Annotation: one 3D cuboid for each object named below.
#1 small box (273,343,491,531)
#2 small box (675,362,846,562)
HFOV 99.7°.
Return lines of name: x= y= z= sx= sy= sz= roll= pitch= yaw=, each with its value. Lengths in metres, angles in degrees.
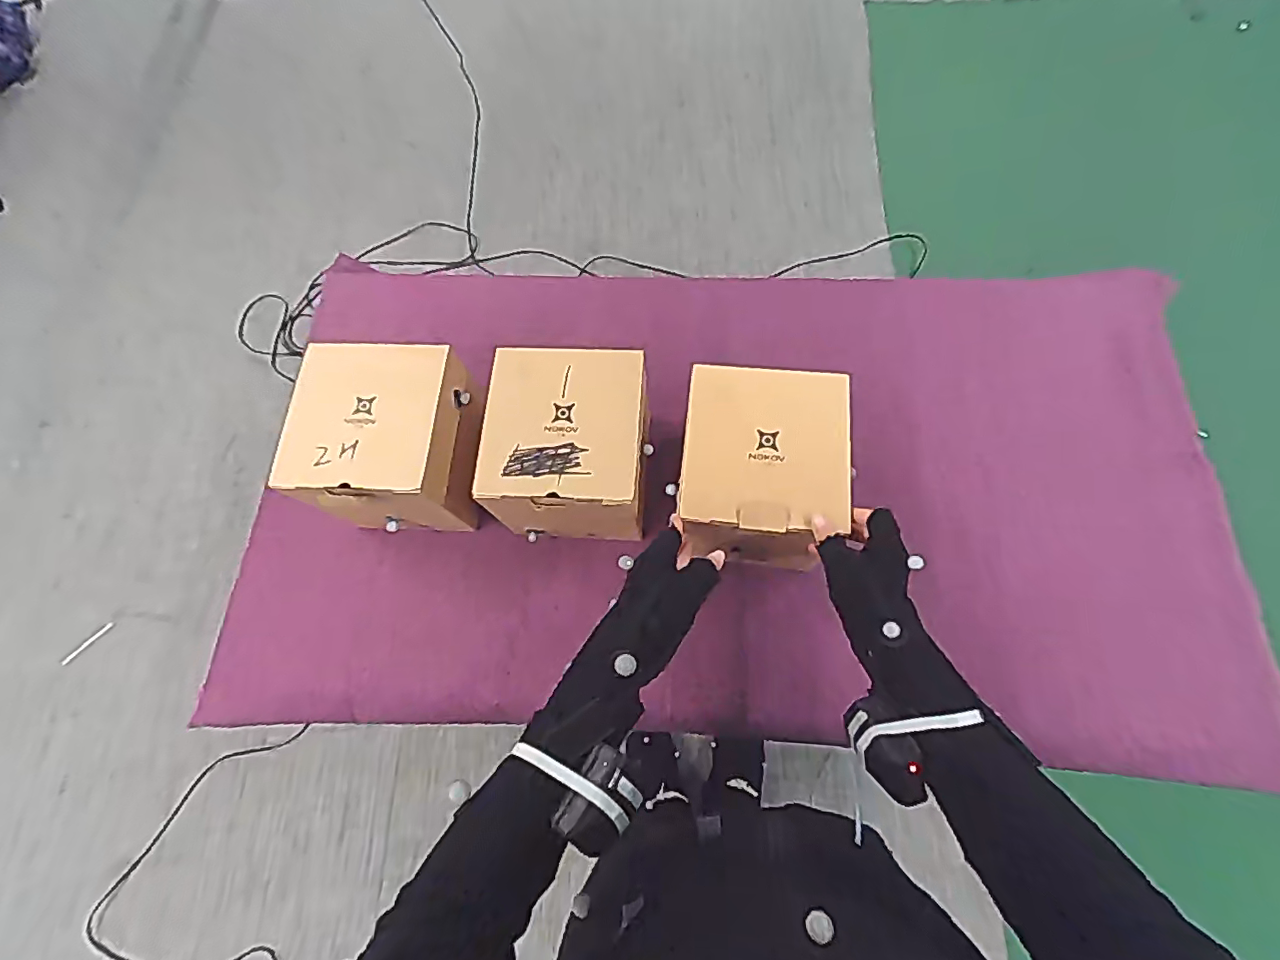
small box: x=-0.292 y=-0.045 z=0.660 sx=0.168 sy=0.176 sz=0.179 roll=2 pitch=71 yaw=5
small box: x=0.130 y=-0.013 z=0.624 sx=0.168 sy=0.176 sz=0.179 roll=5 pitch=72 yaw=6
